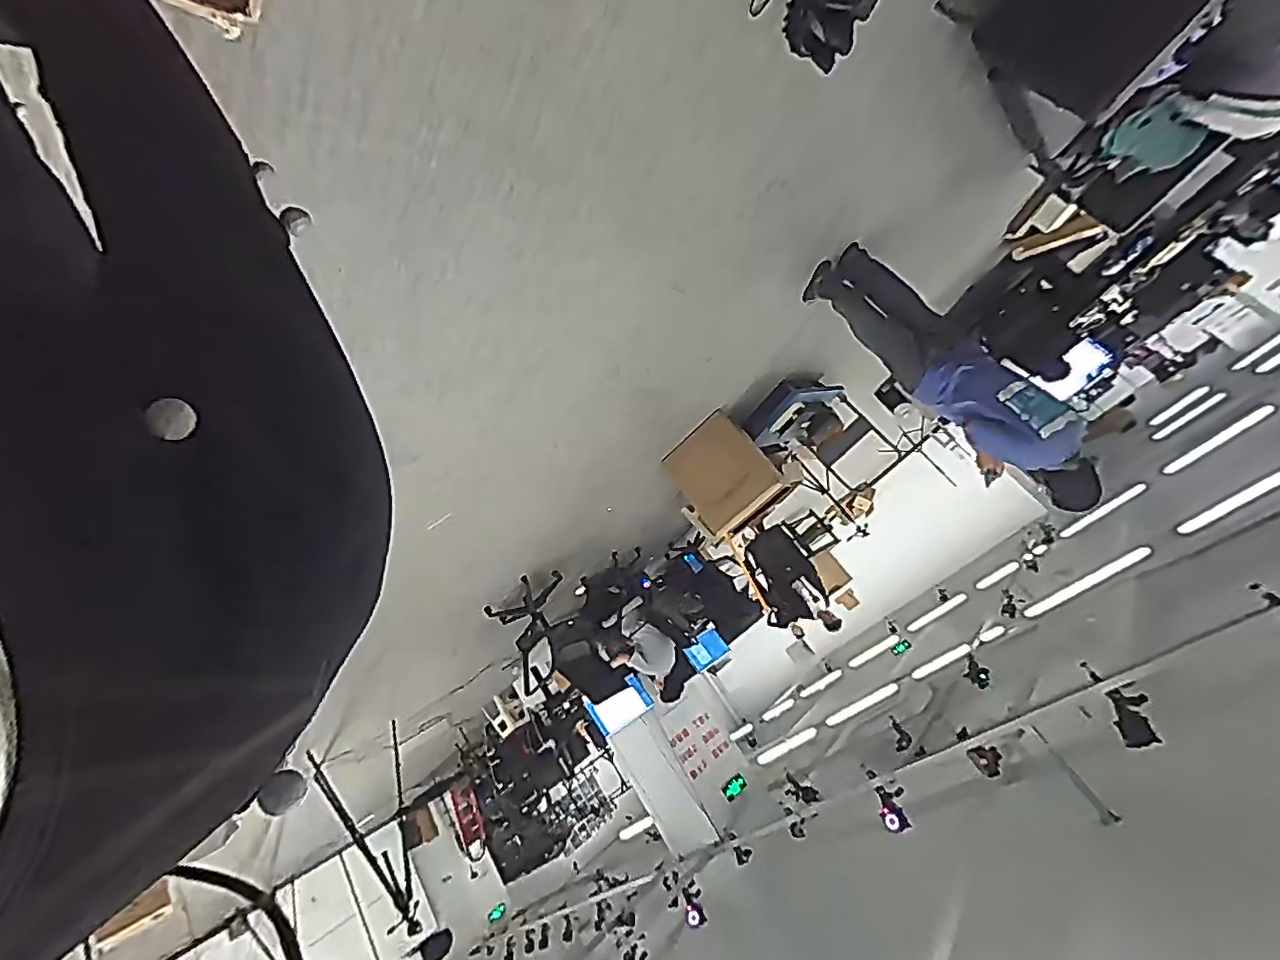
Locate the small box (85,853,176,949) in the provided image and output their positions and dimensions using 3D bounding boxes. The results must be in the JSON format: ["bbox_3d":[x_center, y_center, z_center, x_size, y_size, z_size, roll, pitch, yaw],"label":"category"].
[{"bbox_3d":[-1.606,1.324,1.708,0.179,0.176,0.168,-15,150,-44],"label":"small box"}]
